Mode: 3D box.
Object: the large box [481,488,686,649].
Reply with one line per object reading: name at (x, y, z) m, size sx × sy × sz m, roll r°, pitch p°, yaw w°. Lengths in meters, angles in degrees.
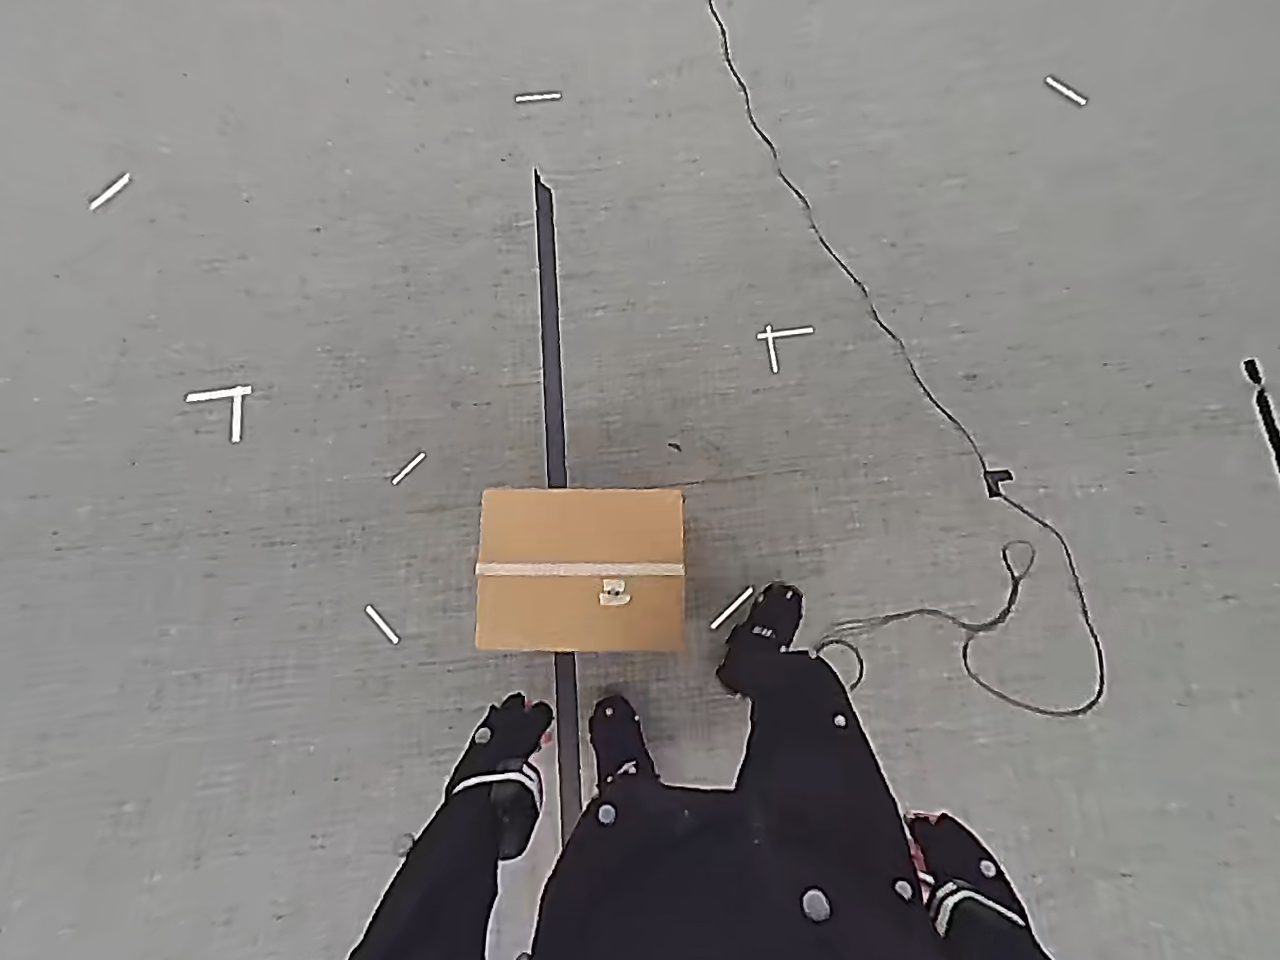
large box at (-0.113, 0.196, 1.211) m, size 0.408 × 0.320 × 0.320 m, roll 0°, pitch 81°, yaw 0°
